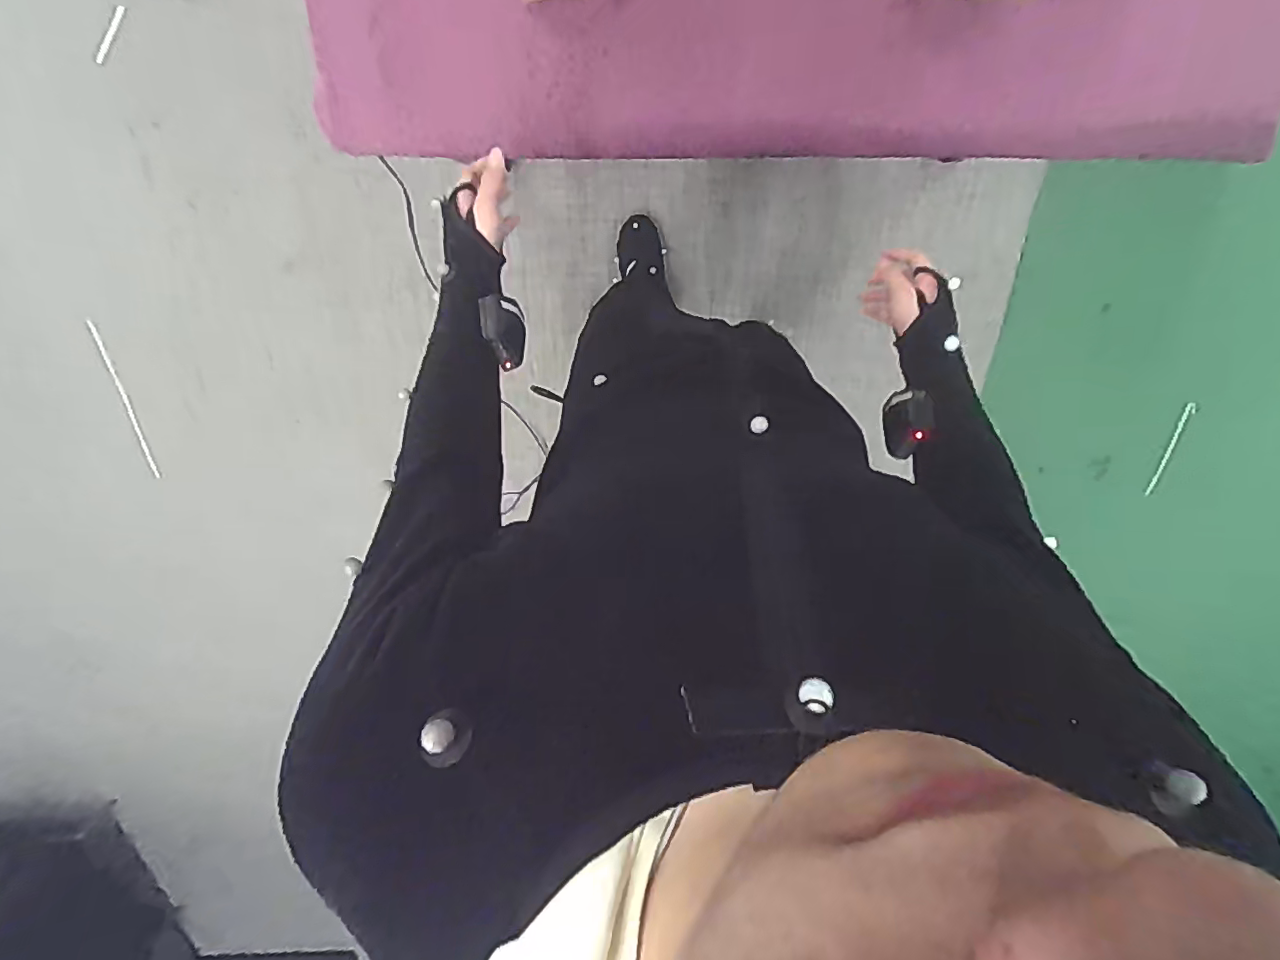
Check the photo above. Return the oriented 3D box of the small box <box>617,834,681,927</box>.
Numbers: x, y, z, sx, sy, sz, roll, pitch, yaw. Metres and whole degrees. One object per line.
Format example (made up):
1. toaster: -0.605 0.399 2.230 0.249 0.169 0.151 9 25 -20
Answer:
1. small box: 0.023 1.199 1.627 0.168 0.176 0.179 7 116 -4

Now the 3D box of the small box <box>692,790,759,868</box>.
1. small box: 0.279 1.167 1.803 0.179 0.176 0.168 8 115 -4
